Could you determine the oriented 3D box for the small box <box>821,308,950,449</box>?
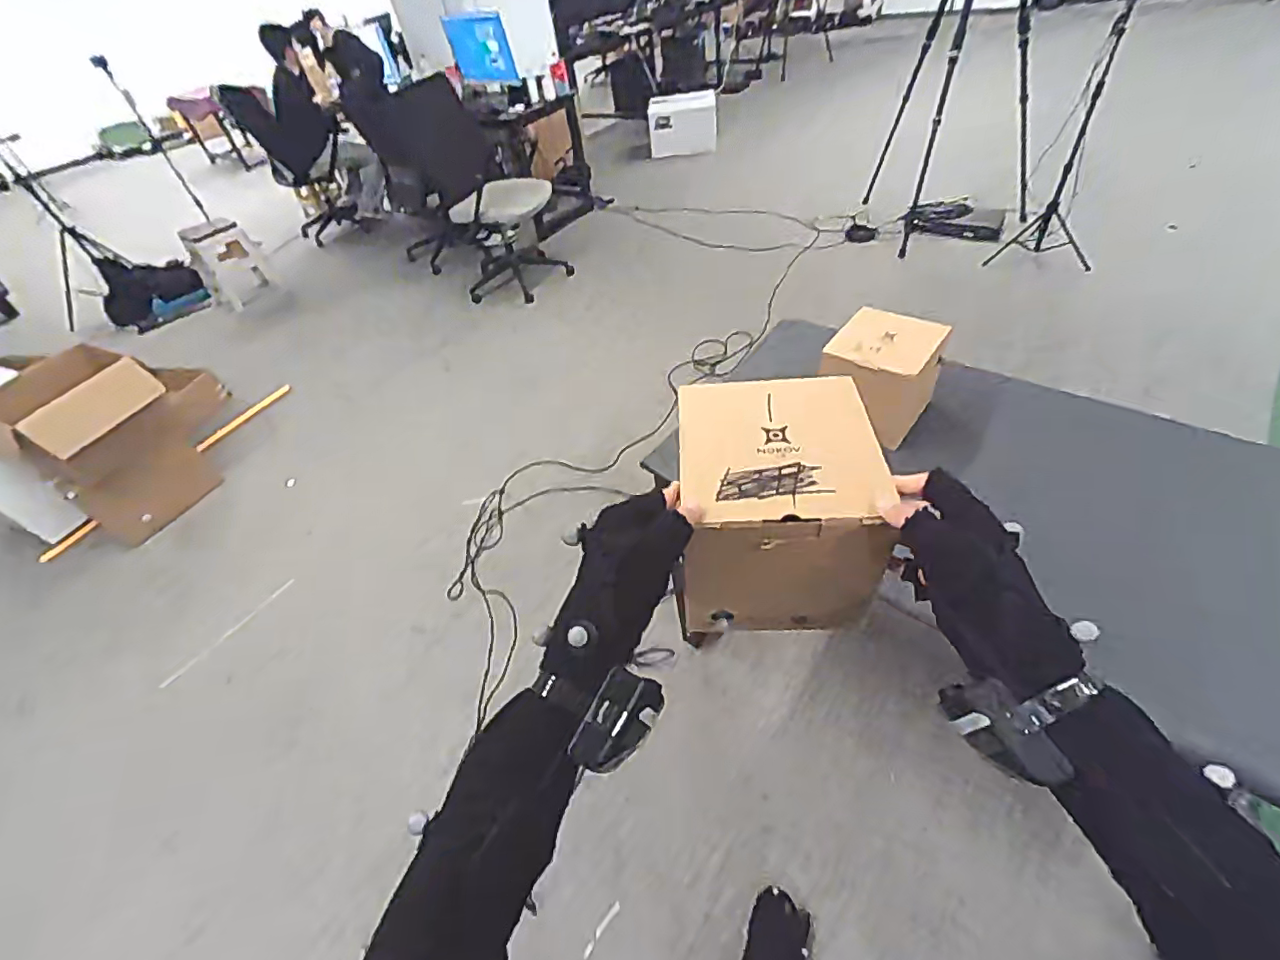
[{"bbox_3d":[0.447,-0.192,1.018,0.168,0.176,0.179,27,57,31],"label":"small box"}]

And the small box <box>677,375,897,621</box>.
[{"bbox_3d":[0.123,0.022,0.520,0.168,0.176,0.179,-1,46,6],"label":"small box"}]
